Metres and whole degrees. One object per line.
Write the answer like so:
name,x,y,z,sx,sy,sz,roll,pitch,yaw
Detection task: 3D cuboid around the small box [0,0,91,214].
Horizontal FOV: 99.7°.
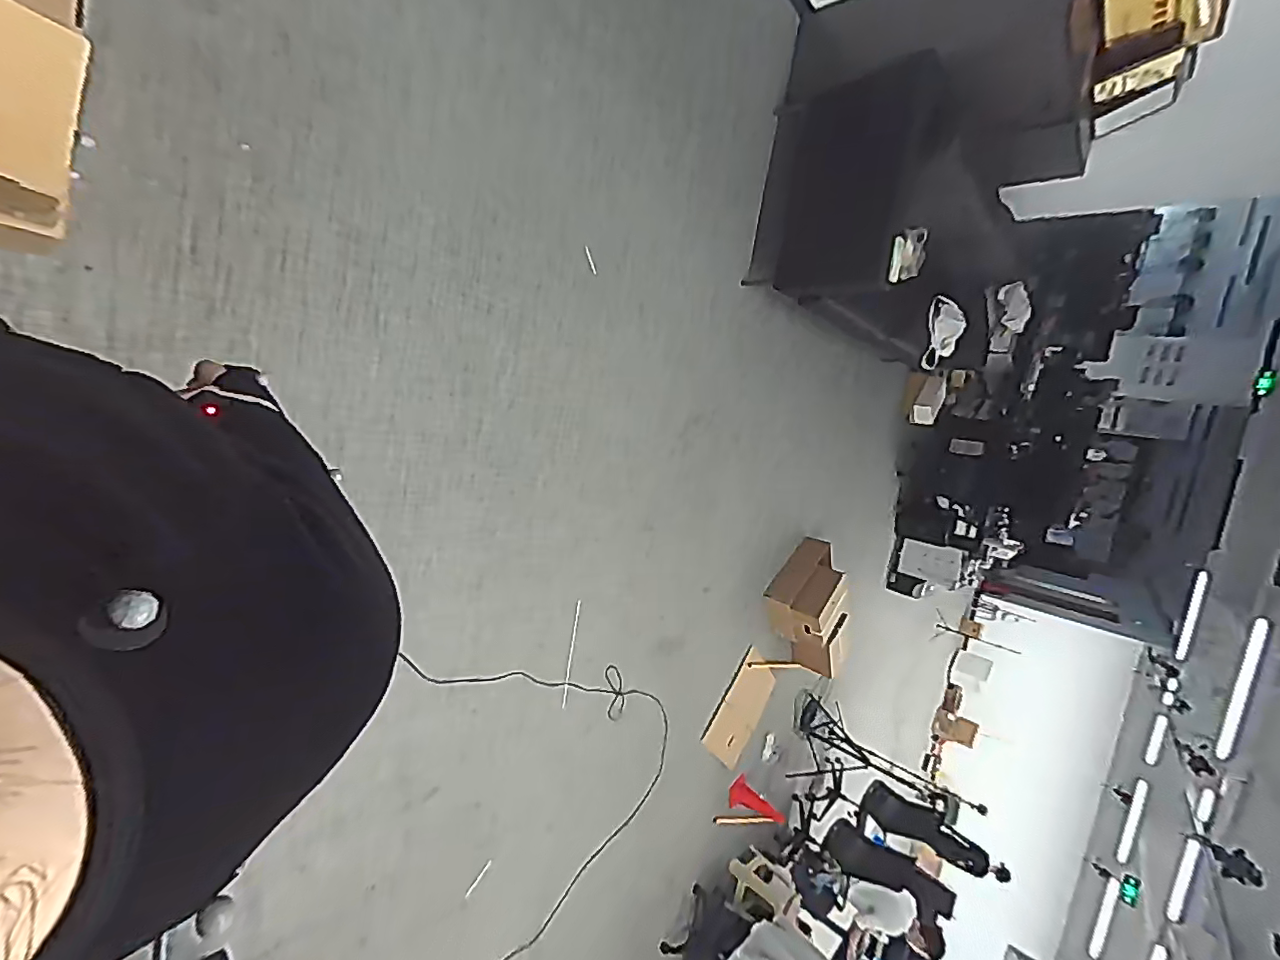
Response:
small box,-0.723,-0.413,0.574,0.168,0.176,0.179,8,94,-51
